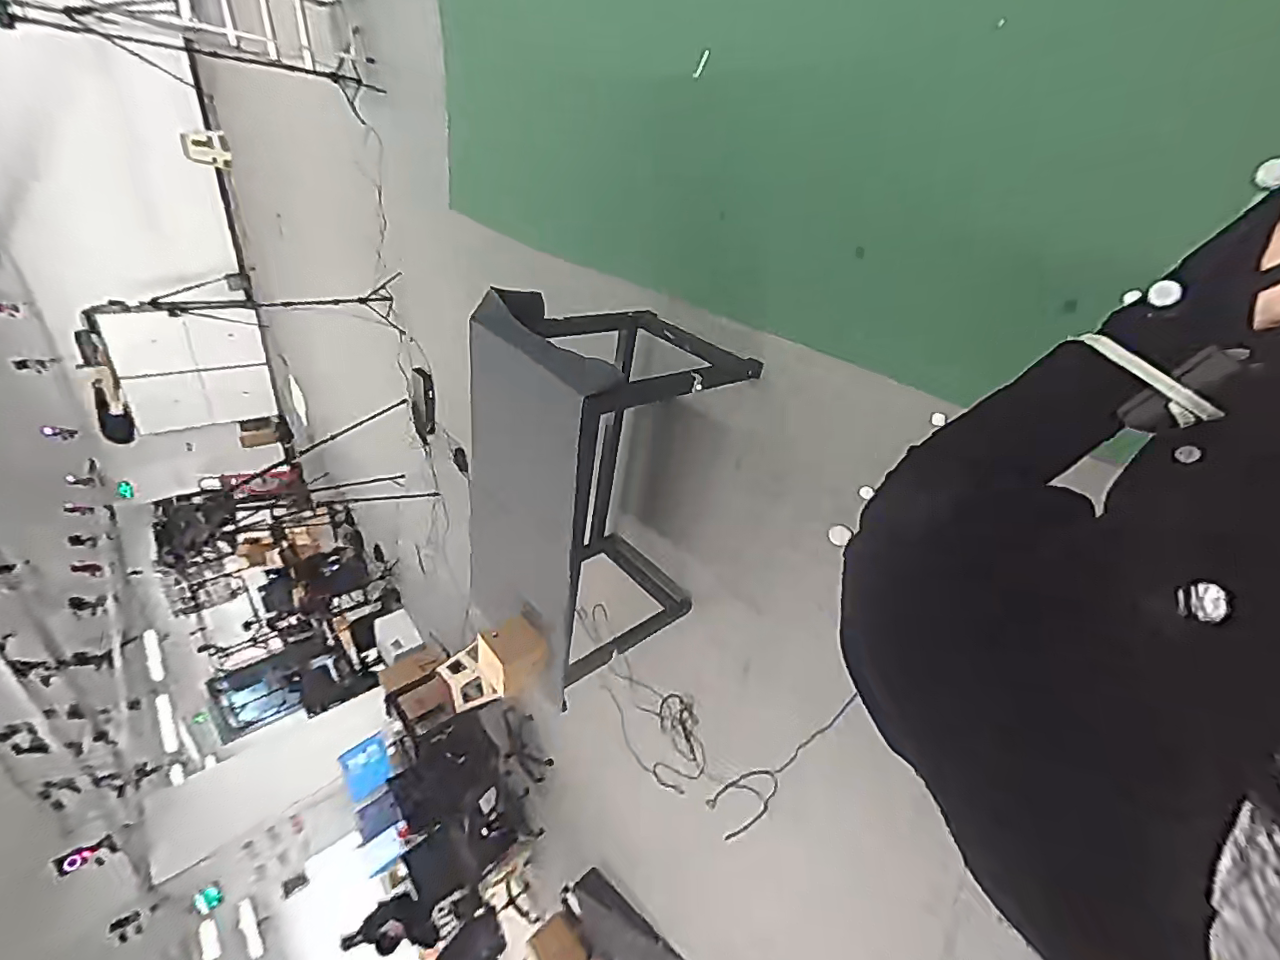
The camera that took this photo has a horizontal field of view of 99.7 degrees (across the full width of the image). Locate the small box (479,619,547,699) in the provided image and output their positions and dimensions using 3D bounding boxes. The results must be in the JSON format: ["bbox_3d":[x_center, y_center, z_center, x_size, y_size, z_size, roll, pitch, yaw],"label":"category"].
[{"bbox_3d":[-0.442,0.608,1.872,0.179,0.176,0.168,34,129,37],"label":"small box"}]
